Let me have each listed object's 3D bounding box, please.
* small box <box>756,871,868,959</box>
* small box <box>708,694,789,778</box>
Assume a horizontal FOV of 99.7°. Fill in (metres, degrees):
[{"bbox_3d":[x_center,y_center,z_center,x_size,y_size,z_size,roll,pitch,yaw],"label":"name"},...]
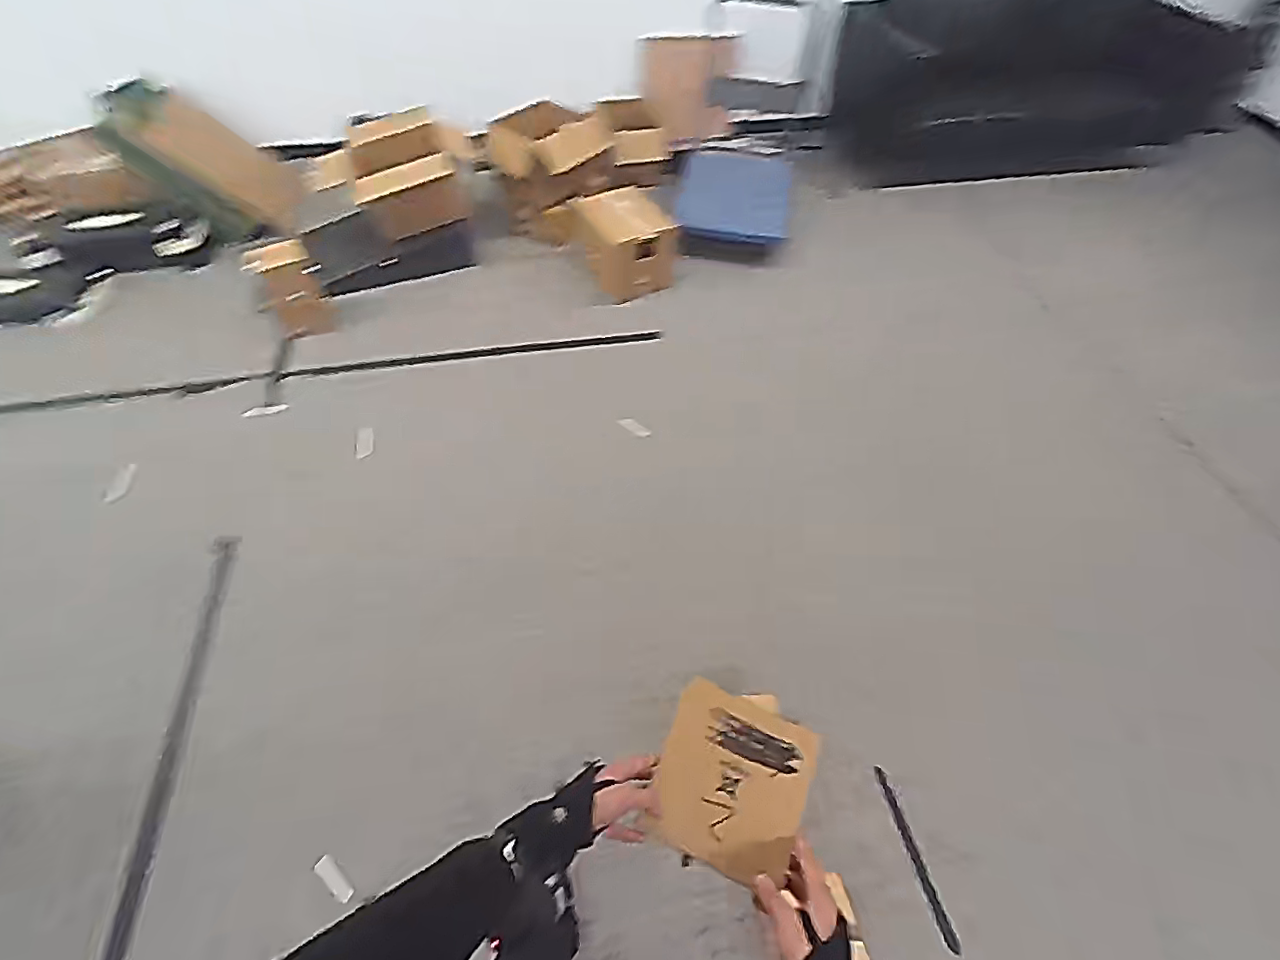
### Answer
[{"bbox_3d":[0.372,0.989,1.195,0.168,0.176,0.179,-9,57,-8],"label":"small box"},{"bbox_3d":[0.276,0.674,1.415,0.168,0.176,0.179,-2,54,-3],"label":"small box"}]
